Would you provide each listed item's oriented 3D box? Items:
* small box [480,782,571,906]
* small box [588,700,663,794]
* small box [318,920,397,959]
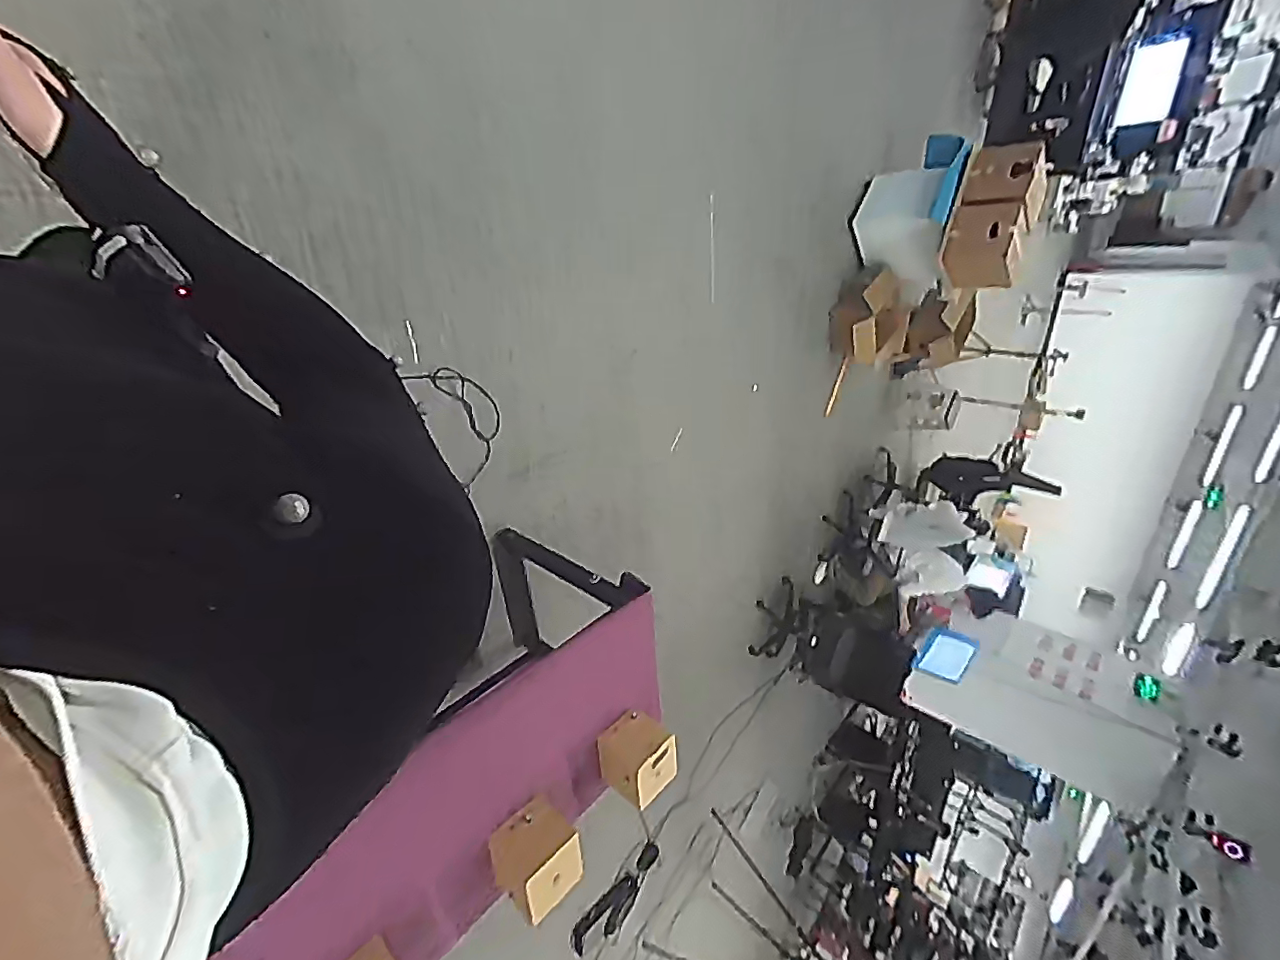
[{"bbox_3d":[-0.303,0.955,1.435,0.168,0.176,0.179,-25,123,-43],"label":"small box"},{"bbox_3d":[-0.047,0.813,1.674,0.168,0.176,0.179,-26,124,-41],"label":"small box"},{"bbox_3d":[-0.595,1.097,1.143,0.168,0.176,0.179,-28,126,-42],"label":"small box"}]
